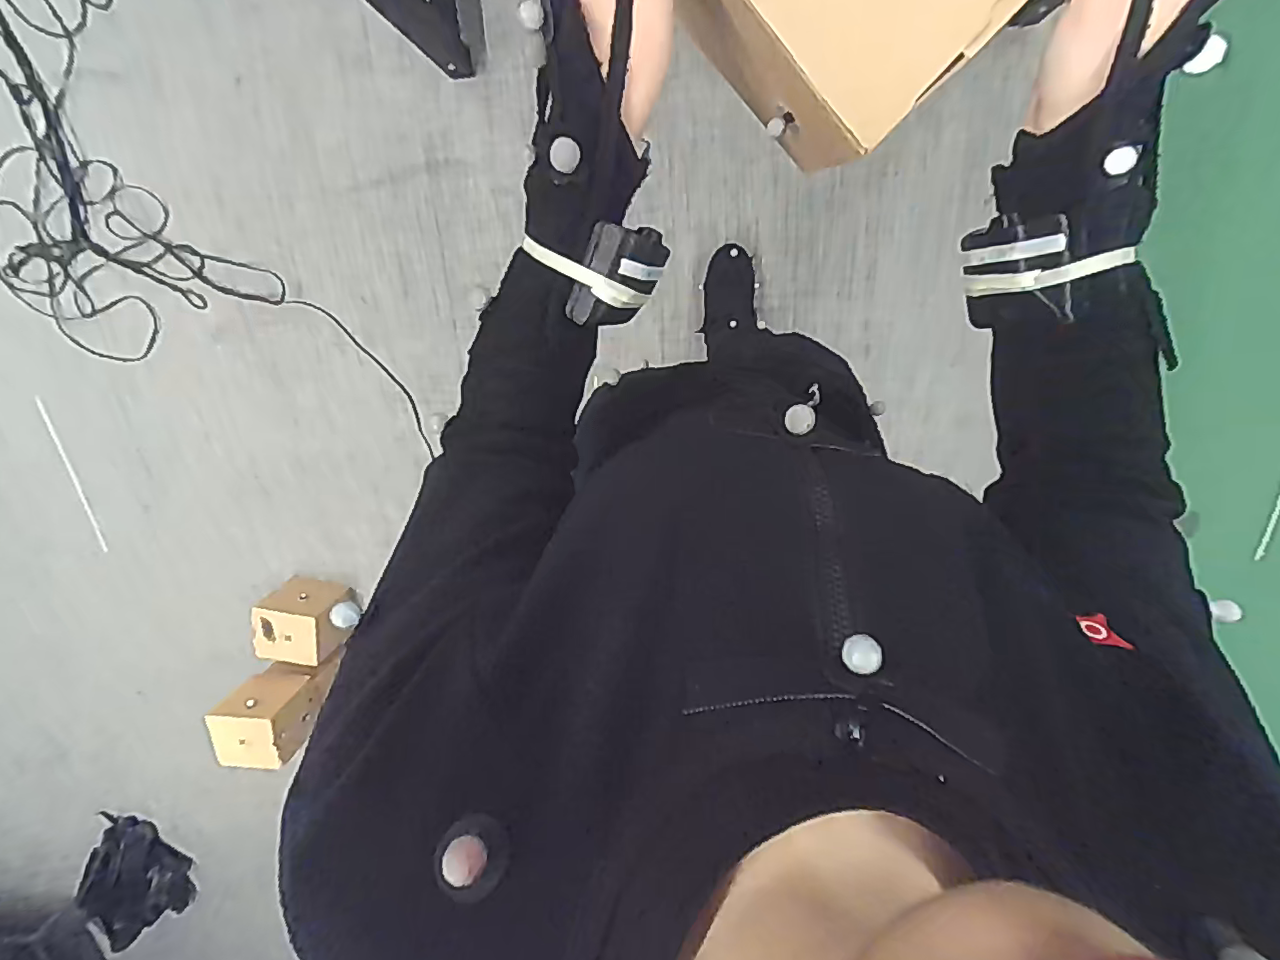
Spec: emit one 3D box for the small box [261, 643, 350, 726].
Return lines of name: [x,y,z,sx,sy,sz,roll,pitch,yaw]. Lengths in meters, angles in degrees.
small box: [-0.988,0.602,1.603,0.179,0.176,0.168,2,109,3]

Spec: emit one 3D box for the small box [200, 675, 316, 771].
small box: [-1.013,0.644,1.447,0.179,0.176,0.168,2,109,3]
